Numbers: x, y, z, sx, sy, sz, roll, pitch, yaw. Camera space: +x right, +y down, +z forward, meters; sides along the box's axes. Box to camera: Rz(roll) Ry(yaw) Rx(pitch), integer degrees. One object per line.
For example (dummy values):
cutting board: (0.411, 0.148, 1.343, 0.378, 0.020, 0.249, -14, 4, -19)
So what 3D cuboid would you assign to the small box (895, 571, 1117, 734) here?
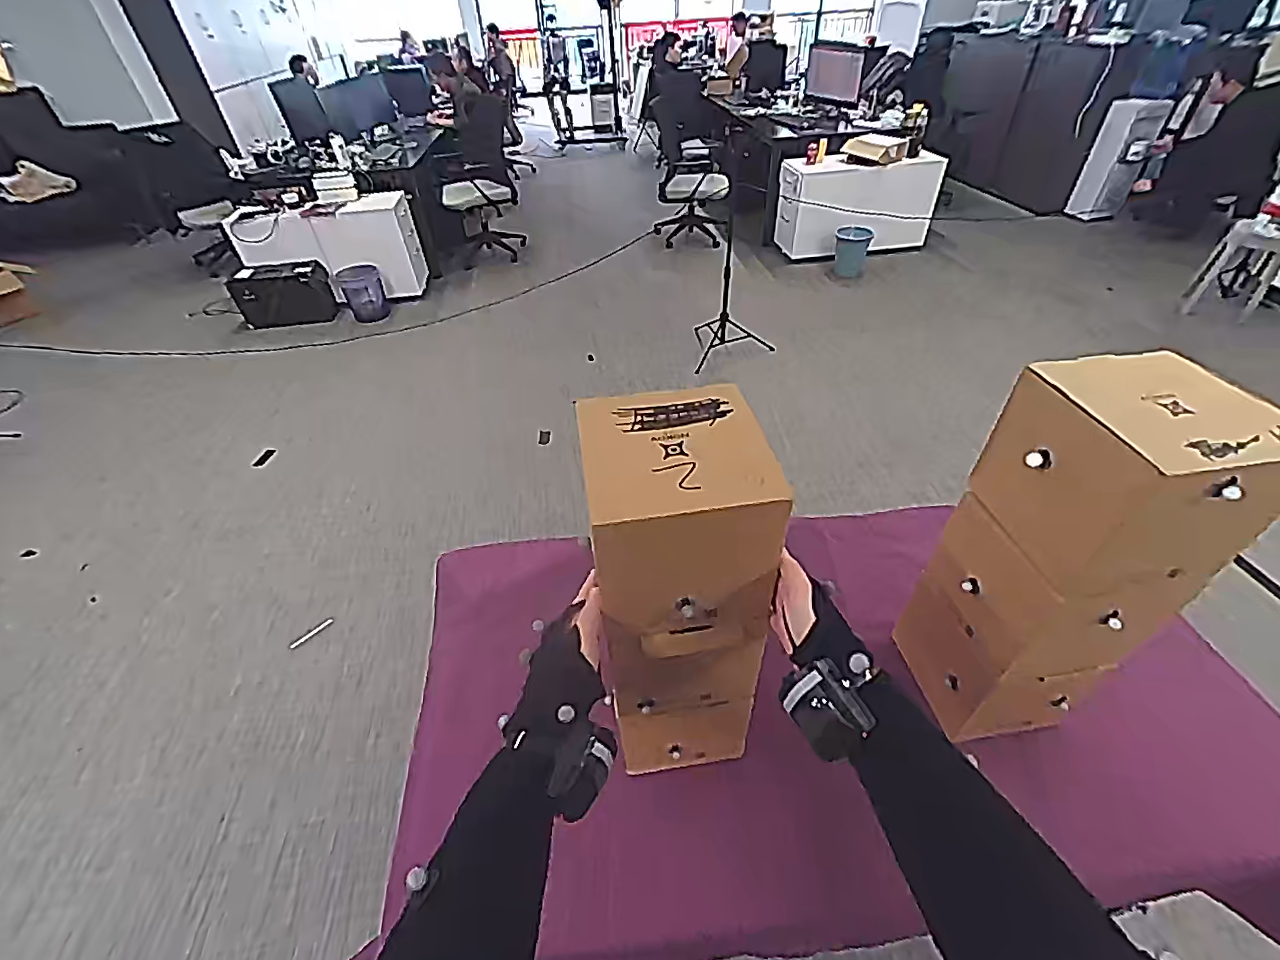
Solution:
small box: (0.495, 0.240, 0.766, 0.168, 0.176, 0.179, -6, 42, -4)

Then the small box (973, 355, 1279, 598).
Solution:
small box: (0.485, -0.006, 0.550, 0.168, 0.176, 0.179, -7, 42, -4)

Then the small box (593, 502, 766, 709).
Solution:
small box: (0.039, 0.154, 0.648, 0.168, 0.176, 0.179, -8, 42, -6)

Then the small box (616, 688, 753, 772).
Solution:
small box: (0.047, 0.277, 0.757, 0.168, 0.176, 0.179, -7, 43, -5)

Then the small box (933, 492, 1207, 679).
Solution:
small box: (0.487, 0.120, 0.655, 0.179, 0.176, 0.168, -7, 43, -5)
